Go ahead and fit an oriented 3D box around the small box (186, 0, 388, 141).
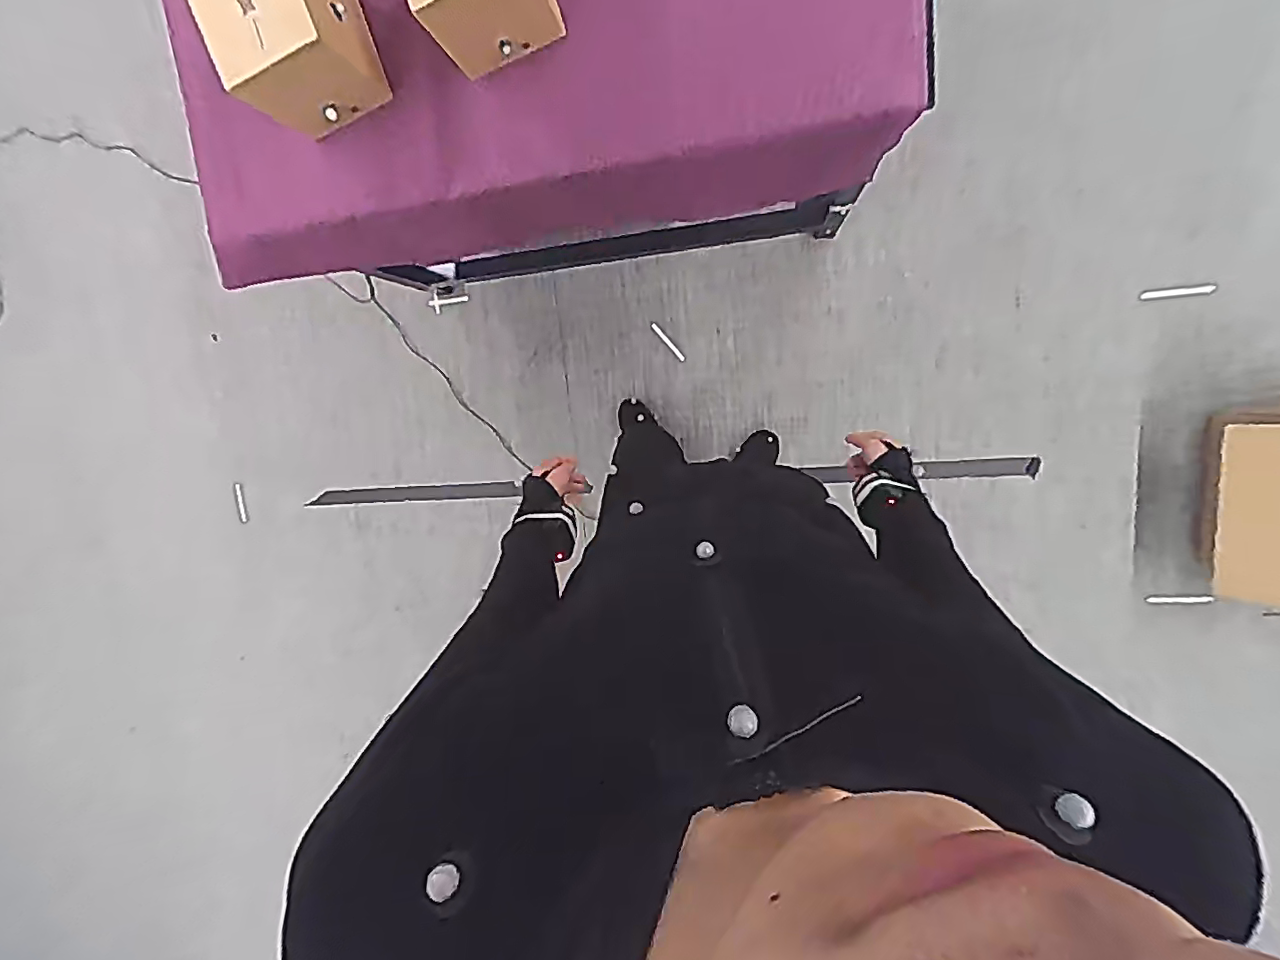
[{"bbox_3d":[-0.516,-0.653,0.802,0.168,0.176,0.179,-18,97,13],"label":"small box"}]
